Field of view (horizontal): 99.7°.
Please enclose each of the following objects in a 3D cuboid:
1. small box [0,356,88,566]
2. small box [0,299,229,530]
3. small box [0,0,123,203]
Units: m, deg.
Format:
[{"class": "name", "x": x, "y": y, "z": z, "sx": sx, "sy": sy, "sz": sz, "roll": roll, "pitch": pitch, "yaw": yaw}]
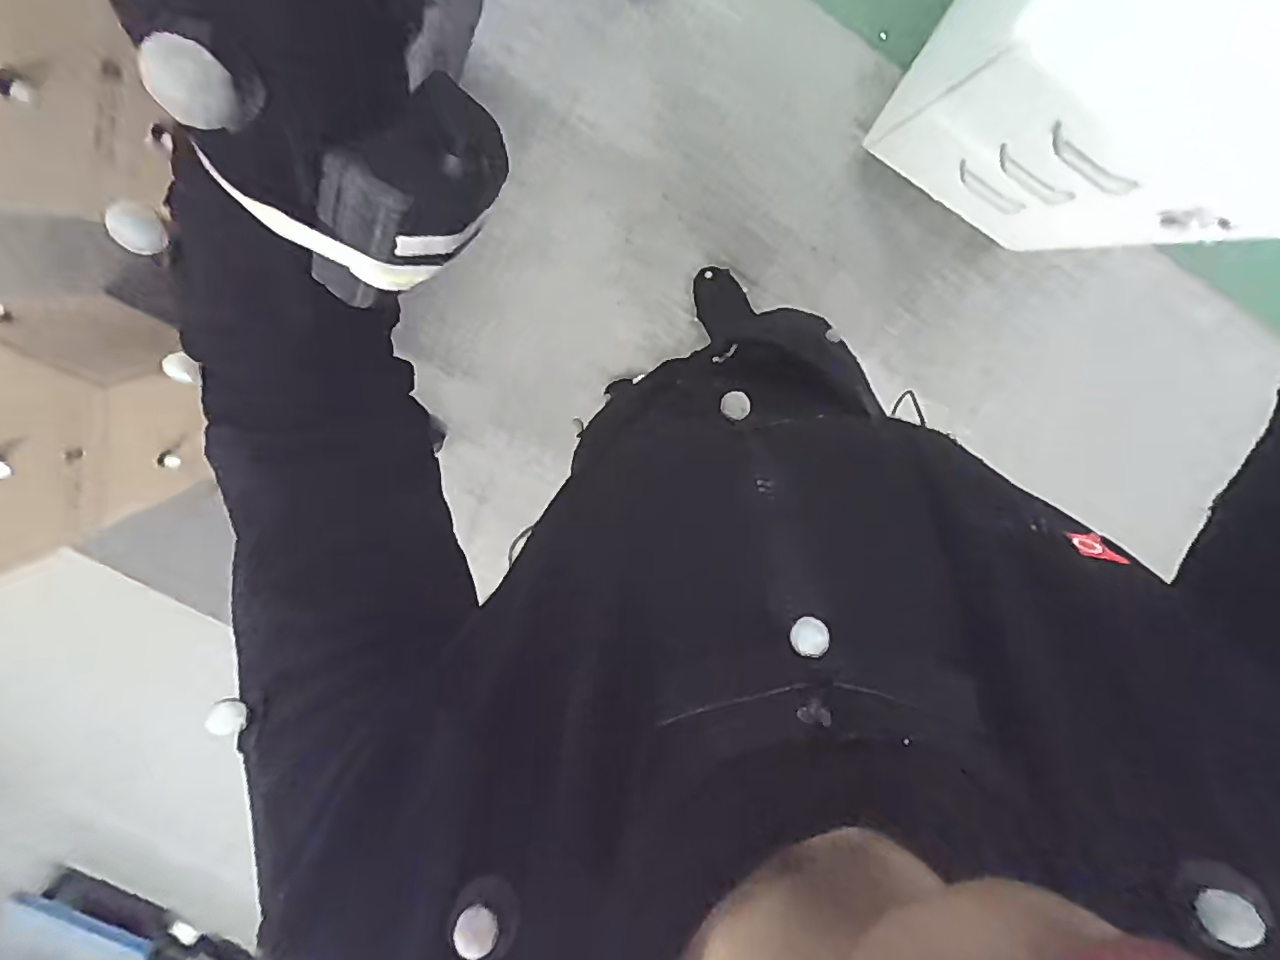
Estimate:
[{"class": "small box", "x": -0.599, "y": -0.019, "z": 0.425, "sx": 0.179, "sy": 0.176, "sz": 0.168, "roll": 24, "pitch": 110, "yaw": -4}, {"class": "small box", "x": -0.588, "y": -0.081, "z": 0.575, "sx": 0.179, "sy": 0.176, "sz": 0.168, "roll": 25, "pitch": 111, "yaw": -5}, {"class": "small box", "x": -0.457, "y": -0.279, "z": 0.307, "sx": 0.179, "sy": 0.176, "sz": 0.168, "roll": 26, "pitch": 111, "yaw": -6}]
